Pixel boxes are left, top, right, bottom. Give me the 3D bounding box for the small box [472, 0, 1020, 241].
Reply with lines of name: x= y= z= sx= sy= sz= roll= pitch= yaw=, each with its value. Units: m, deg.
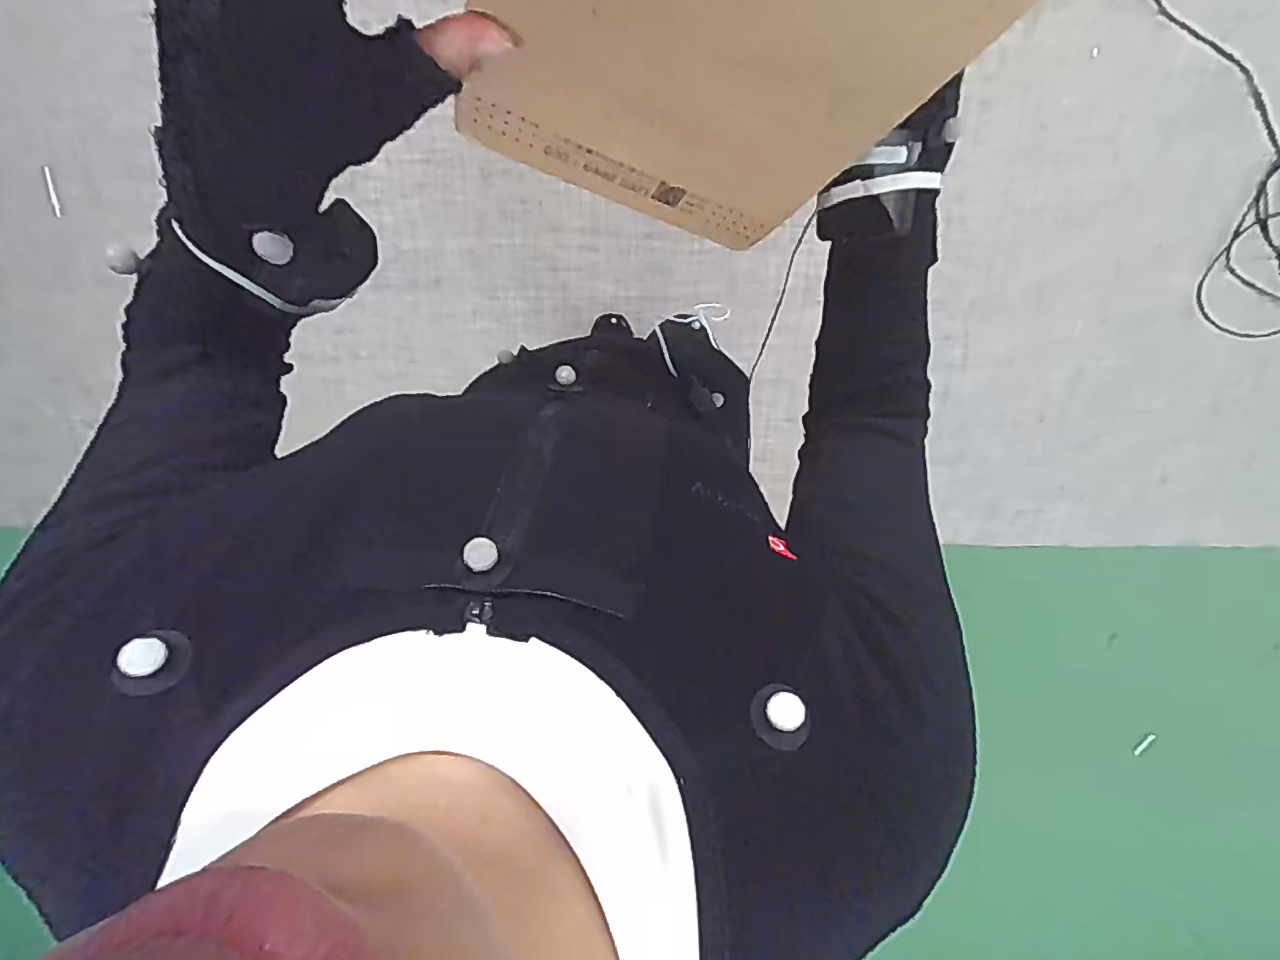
small box: x=0.033 y=-0.246 z=0.232 sx=0.168 sy=0.176 sz=0.179 roll=13 pitch=78 yaw=-21
